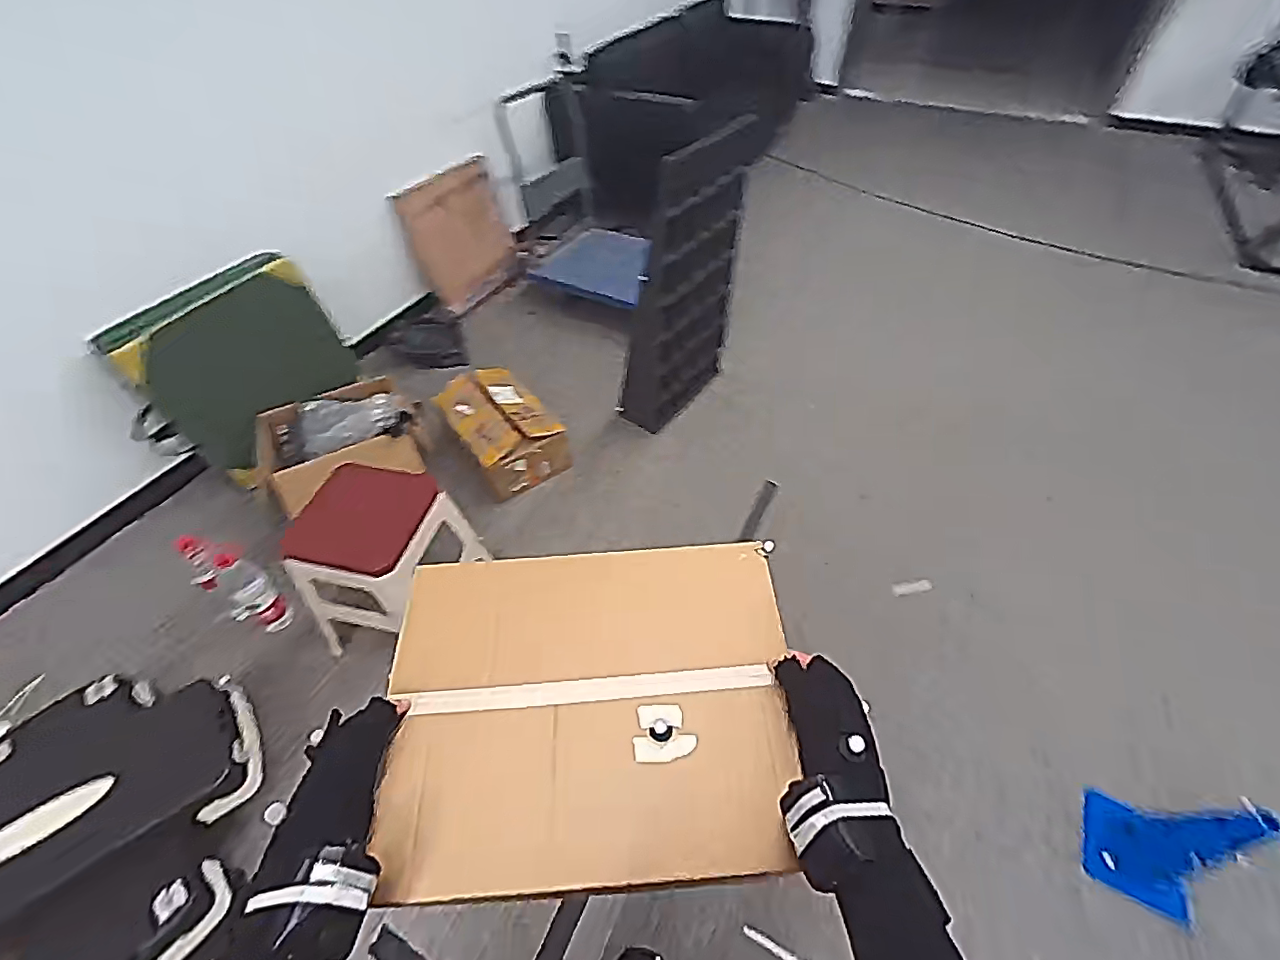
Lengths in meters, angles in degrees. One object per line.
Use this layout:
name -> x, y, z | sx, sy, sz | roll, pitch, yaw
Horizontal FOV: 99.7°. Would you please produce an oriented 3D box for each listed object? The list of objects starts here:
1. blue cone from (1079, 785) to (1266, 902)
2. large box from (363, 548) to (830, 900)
blue cone -> 1.106, 0.711, 1.106 | 0.193, 0.380, 0.192 | 24, 52, 20
large box -> -0.041, 0.303, 0.659 | 0.408, 0.320, 0.320 | -3, 52, 0
